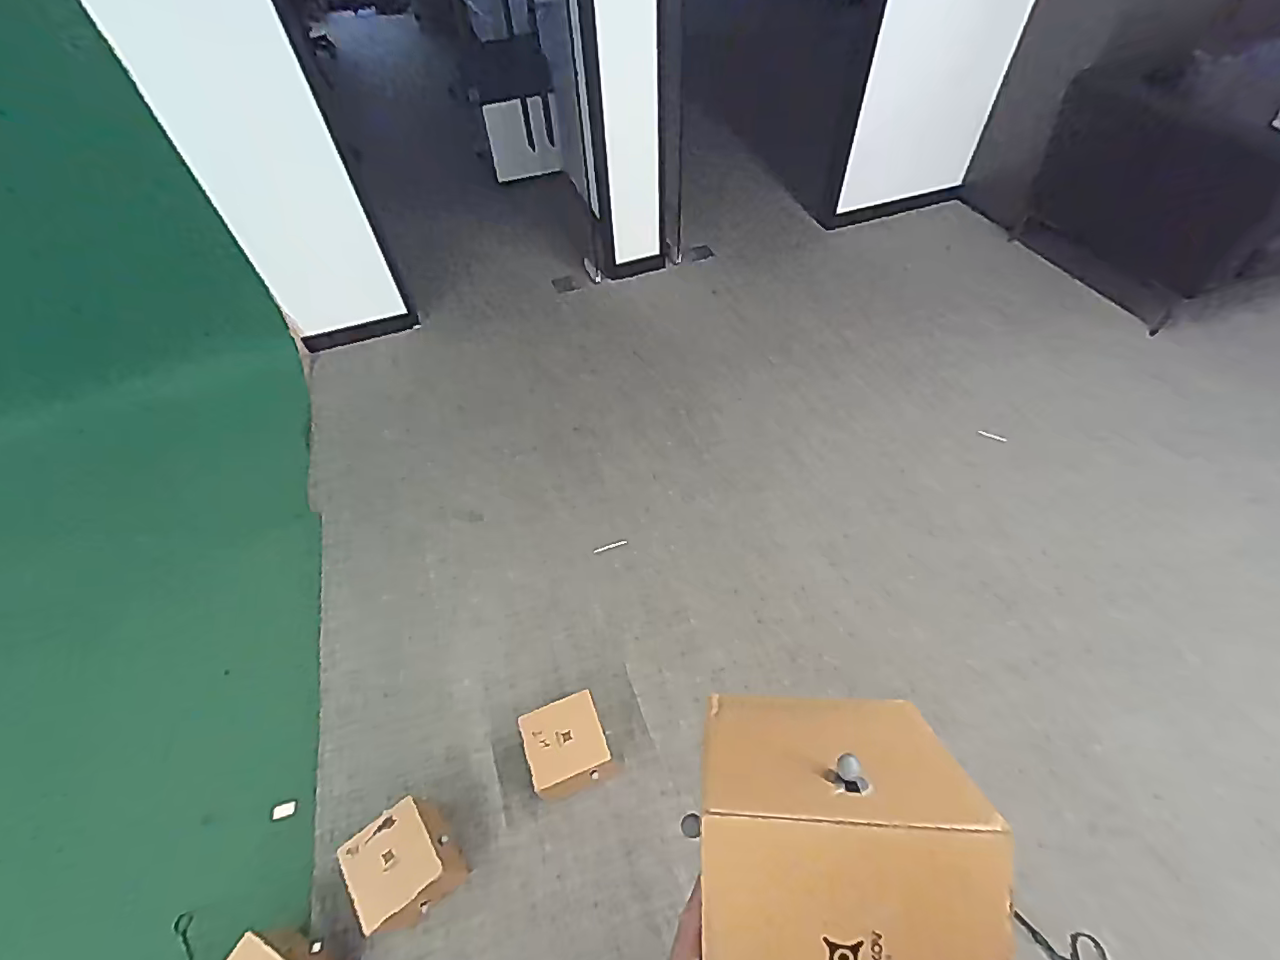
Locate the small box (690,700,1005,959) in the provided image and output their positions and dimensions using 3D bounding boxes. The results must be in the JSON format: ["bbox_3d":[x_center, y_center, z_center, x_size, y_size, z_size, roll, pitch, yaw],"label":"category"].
[{"bbox_3d":[0.129,0.275,0.393,0.179,0.176,0.168,-1,92,7],"label":"small box"}]

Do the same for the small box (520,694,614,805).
[{"bbox_3d":[-0.166,0.637,1.274,0.179,0.176,0.168,-18,52,-12],"label":"small box"}]

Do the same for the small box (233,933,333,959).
[{"bbox_3d":[-0.699,1.000,1.018,0.168,0.176,0.179,19,54,18],"label":"small box"}]

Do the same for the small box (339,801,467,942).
[{"bbox_3d":[-0.494,0.823,1.147,0.168,0.176,0.179,-33,57,-21],"label":"small box"}]
